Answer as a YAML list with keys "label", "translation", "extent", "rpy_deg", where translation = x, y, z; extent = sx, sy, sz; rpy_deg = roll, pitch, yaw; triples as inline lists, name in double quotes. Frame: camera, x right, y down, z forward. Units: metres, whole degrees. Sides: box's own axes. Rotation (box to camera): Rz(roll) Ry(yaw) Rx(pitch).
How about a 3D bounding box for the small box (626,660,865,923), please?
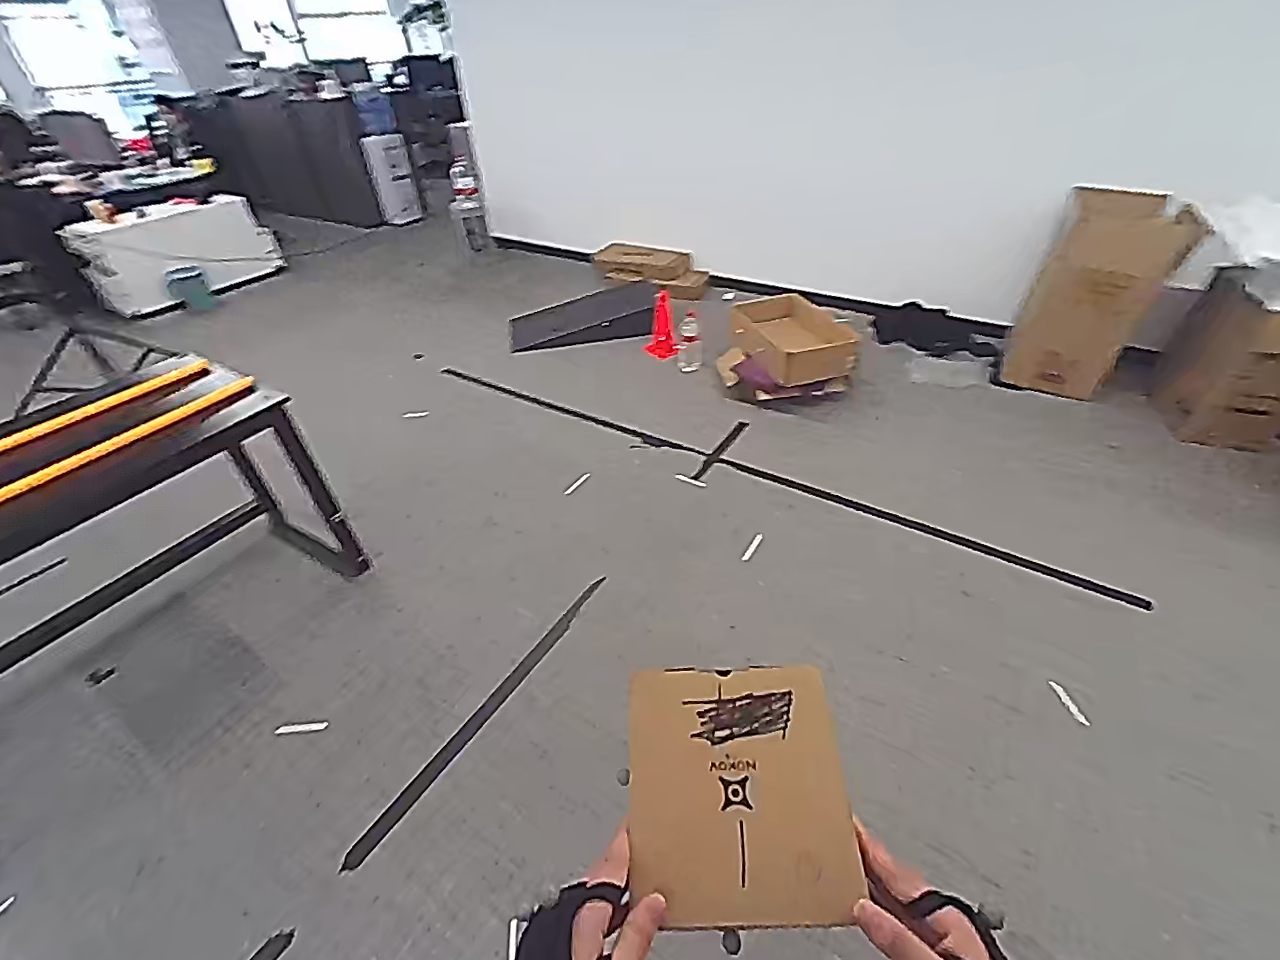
- label: "small box"
  translation: [0.074, 0.279, 0.482]
  extent: [0.168, 0.176, 0.179]
  rpy_deg: [-4, 50, 2]
